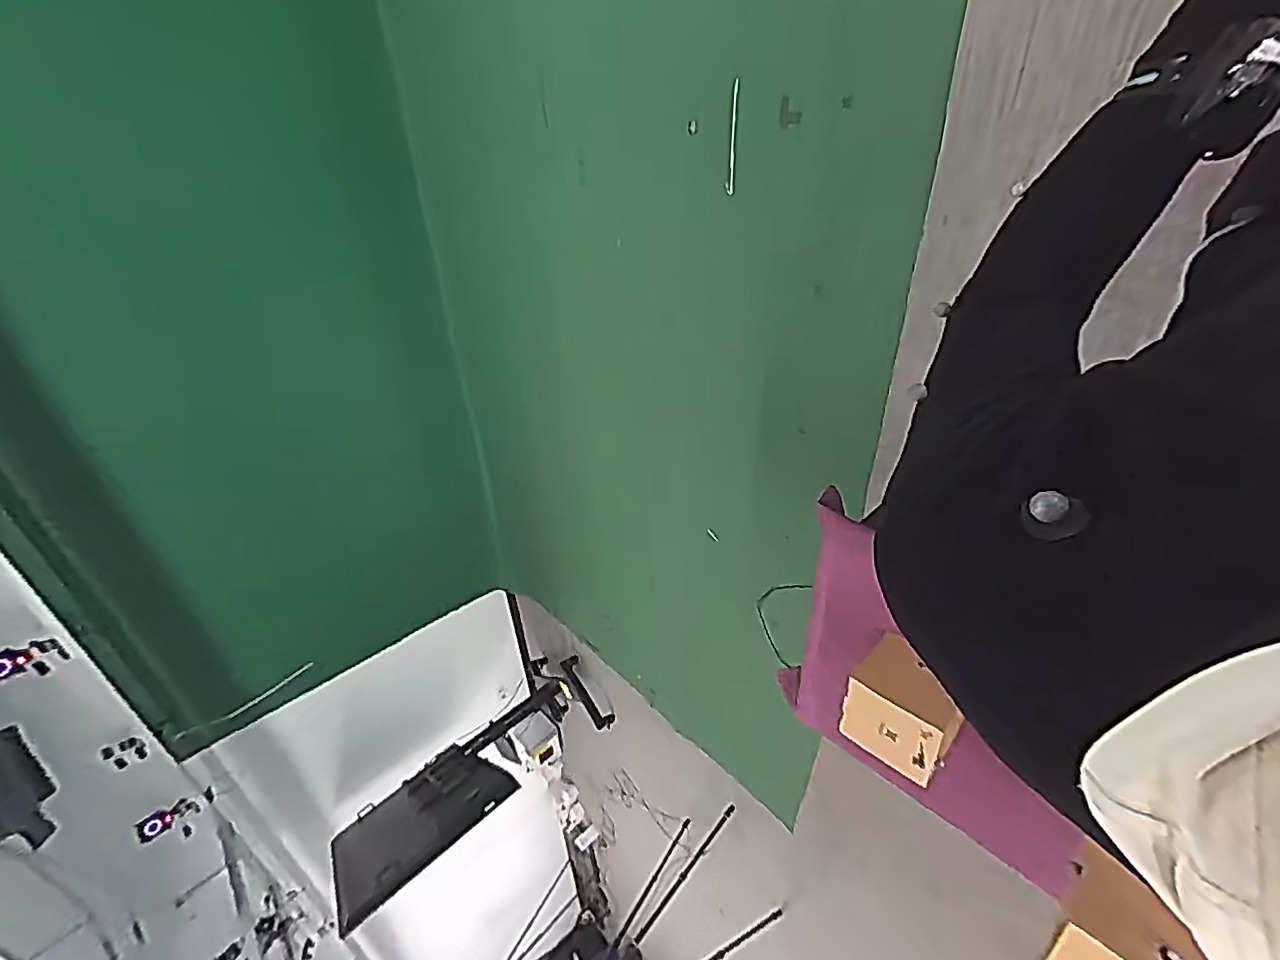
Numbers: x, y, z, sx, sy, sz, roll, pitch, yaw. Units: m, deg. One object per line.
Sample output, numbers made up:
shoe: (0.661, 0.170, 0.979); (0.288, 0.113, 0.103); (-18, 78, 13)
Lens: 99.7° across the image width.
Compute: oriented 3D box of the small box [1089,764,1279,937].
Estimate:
small box: (0.800, 0.573, 0.806); (0.168, 0.176, 0.179); (24, 131, 41)

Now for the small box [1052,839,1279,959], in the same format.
small box: (0.682, 0.632, 0.710); (0.179, 0.176, 0.168); (25, 129, 42)

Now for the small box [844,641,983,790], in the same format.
small box: (0.531, 0.447, 1.060); (0.179, 0.176, 0.168); (25, 131, 40)
